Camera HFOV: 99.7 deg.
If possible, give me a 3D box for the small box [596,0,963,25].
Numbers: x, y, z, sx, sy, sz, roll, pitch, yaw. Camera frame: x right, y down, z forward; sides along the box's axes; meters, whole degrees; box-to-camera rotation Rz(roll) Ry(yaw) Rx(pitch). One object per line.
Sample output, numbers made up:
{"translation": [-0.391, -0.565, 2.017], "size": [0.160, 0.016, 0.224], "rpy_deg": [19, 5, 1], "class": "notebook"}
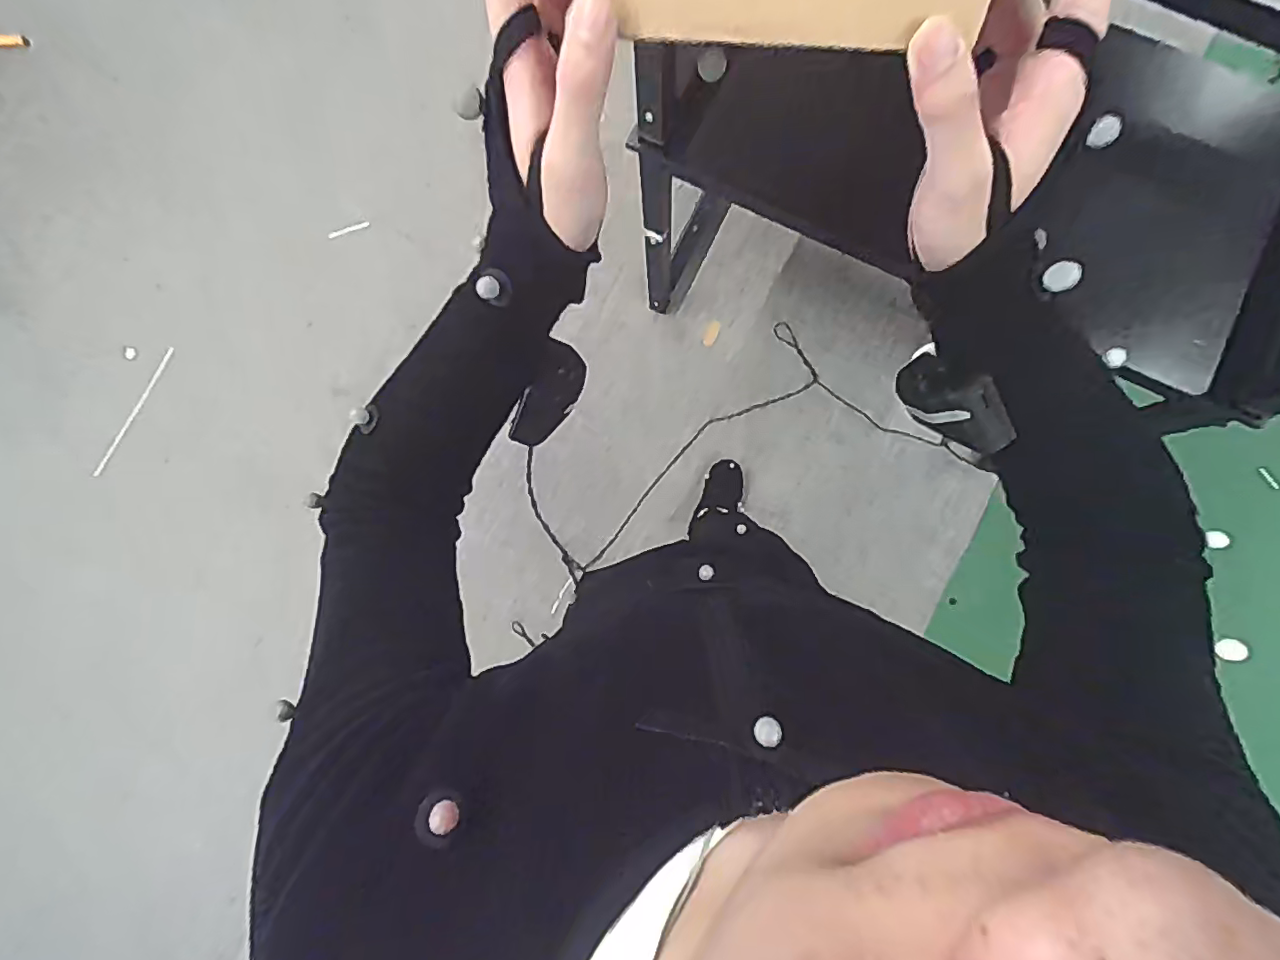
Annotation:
{"translation": [0.060, -0.309, 0.226], "size": [0.168, 0.176, 0.179], "rpy_deg": [5, 128, 3], "class": "small box"}
